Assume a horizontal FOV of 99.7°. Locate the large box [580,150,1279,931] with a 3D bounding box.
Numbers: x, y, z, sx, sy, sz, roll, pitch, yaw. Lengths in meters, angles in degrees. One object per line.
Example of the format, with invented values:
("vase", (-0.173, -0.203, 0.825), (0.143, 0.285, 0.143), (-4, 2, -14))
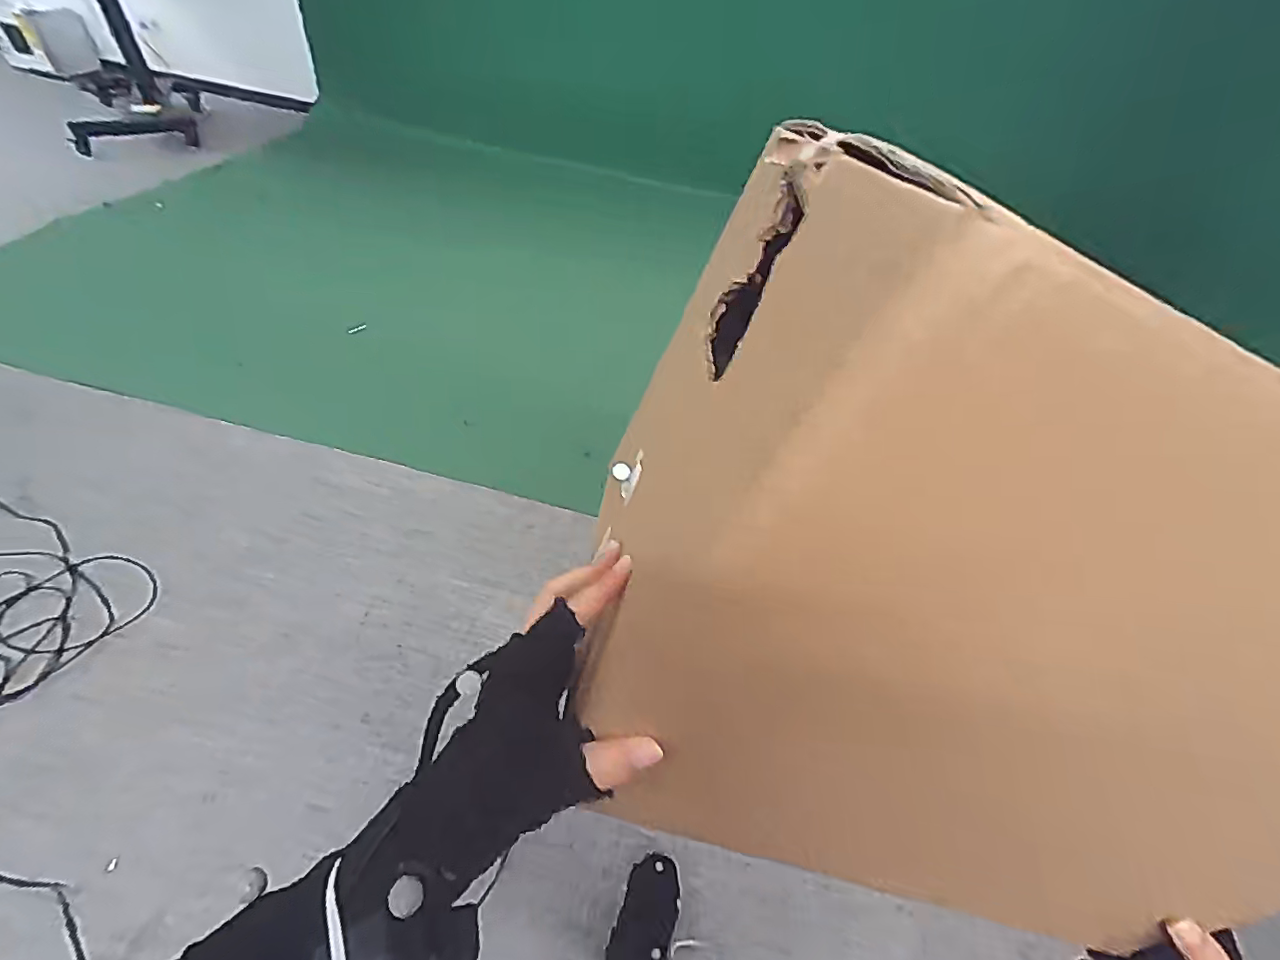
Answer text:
("large box", (0.210, 0.042, 0.367), (0.408, 0.320, 0.320), (22, 35, -11))
